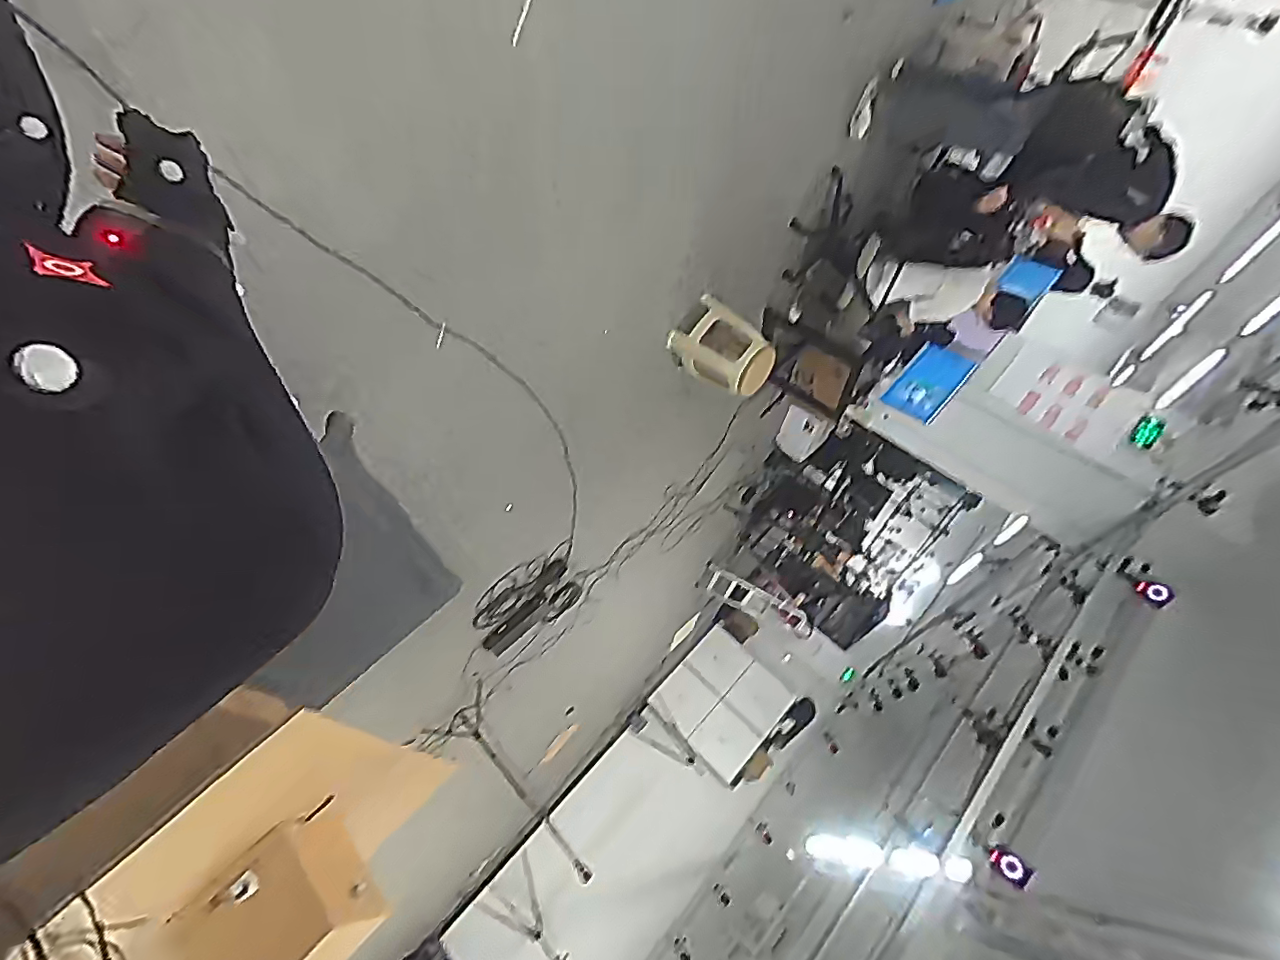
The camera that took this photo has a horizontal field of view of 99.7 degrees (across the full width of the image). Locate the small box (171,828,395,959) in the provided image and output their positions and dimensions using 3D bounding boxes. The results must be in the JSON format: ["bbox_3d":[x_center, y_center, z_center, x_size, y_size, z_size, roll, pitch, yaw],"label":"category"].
[{"bbox_3d":[-0.490,0.624,0.757,0.168,0.176,0.179,-43,152,-22],"label":"small box"}]
